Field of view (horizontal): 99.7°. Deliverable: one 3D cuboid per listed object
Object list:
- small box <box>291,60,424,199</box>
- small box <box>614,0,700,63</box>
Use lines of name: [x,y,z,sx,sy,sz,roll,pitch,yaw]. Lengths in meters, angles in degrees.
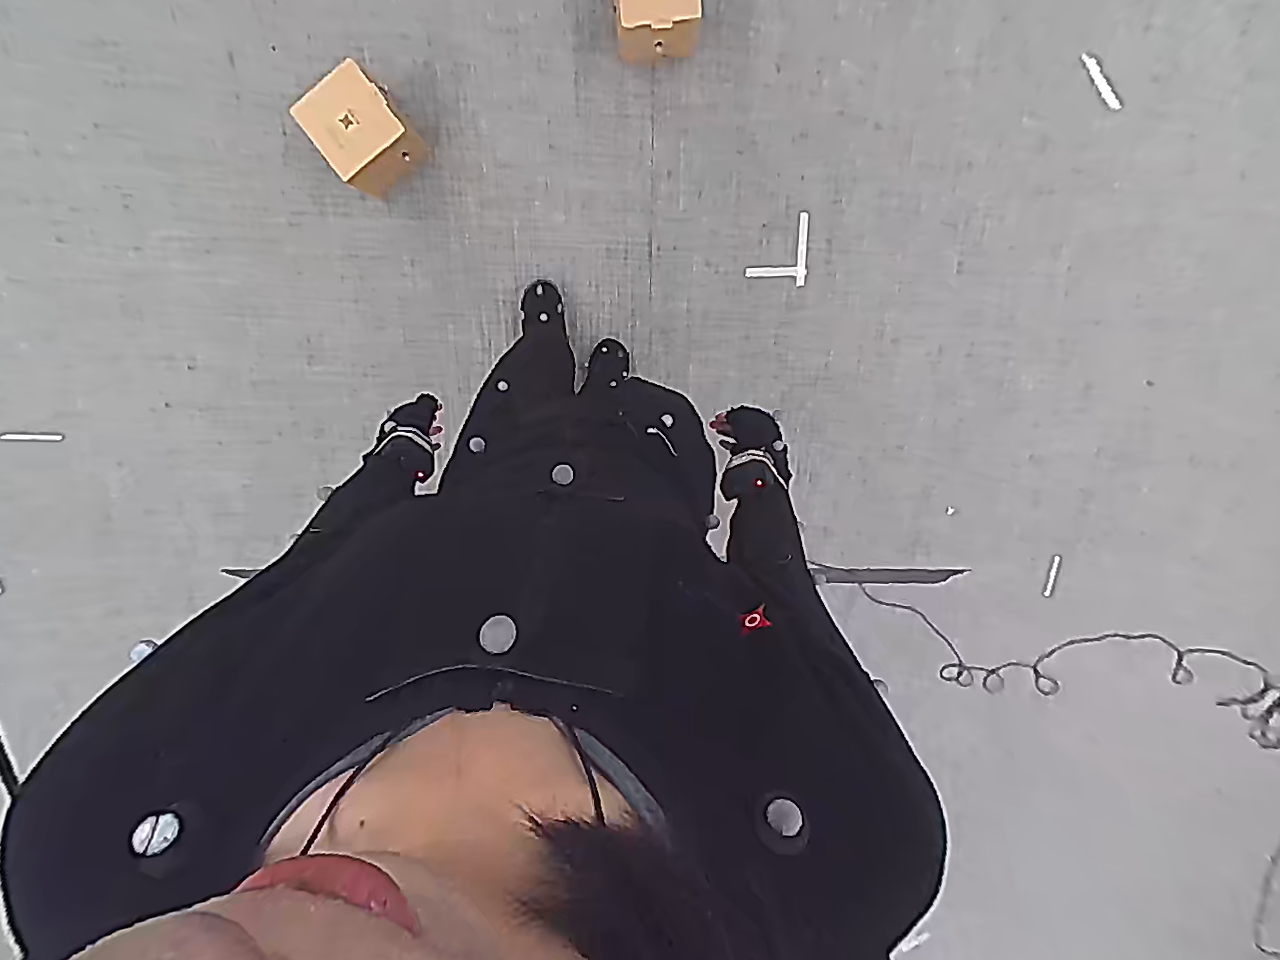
small box: [-0.604,-0.757,1.190,0.179,0.176,0.168,-35,104,8]
small box: [0.030,-1.016,1.142,0.168,0.176,0.179,-7,108,-1]
